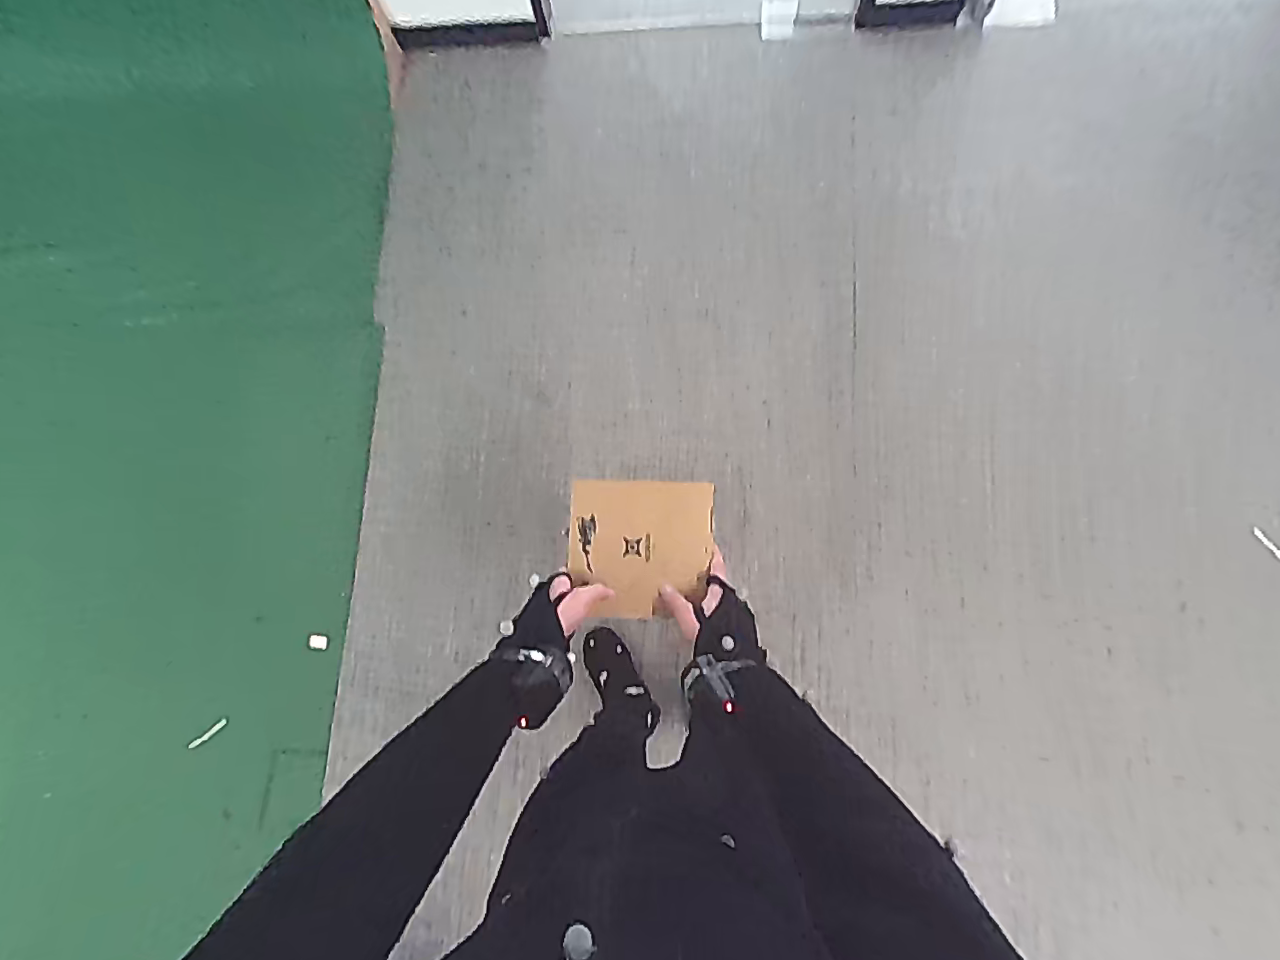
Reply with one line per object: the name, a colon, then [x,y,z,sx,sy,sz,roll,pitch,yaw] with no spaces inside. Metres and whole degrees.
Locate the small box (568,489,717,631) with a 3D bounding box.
small box: [0.007,0.106,0.727,0.179,0.176,0.168,1,81,3]
